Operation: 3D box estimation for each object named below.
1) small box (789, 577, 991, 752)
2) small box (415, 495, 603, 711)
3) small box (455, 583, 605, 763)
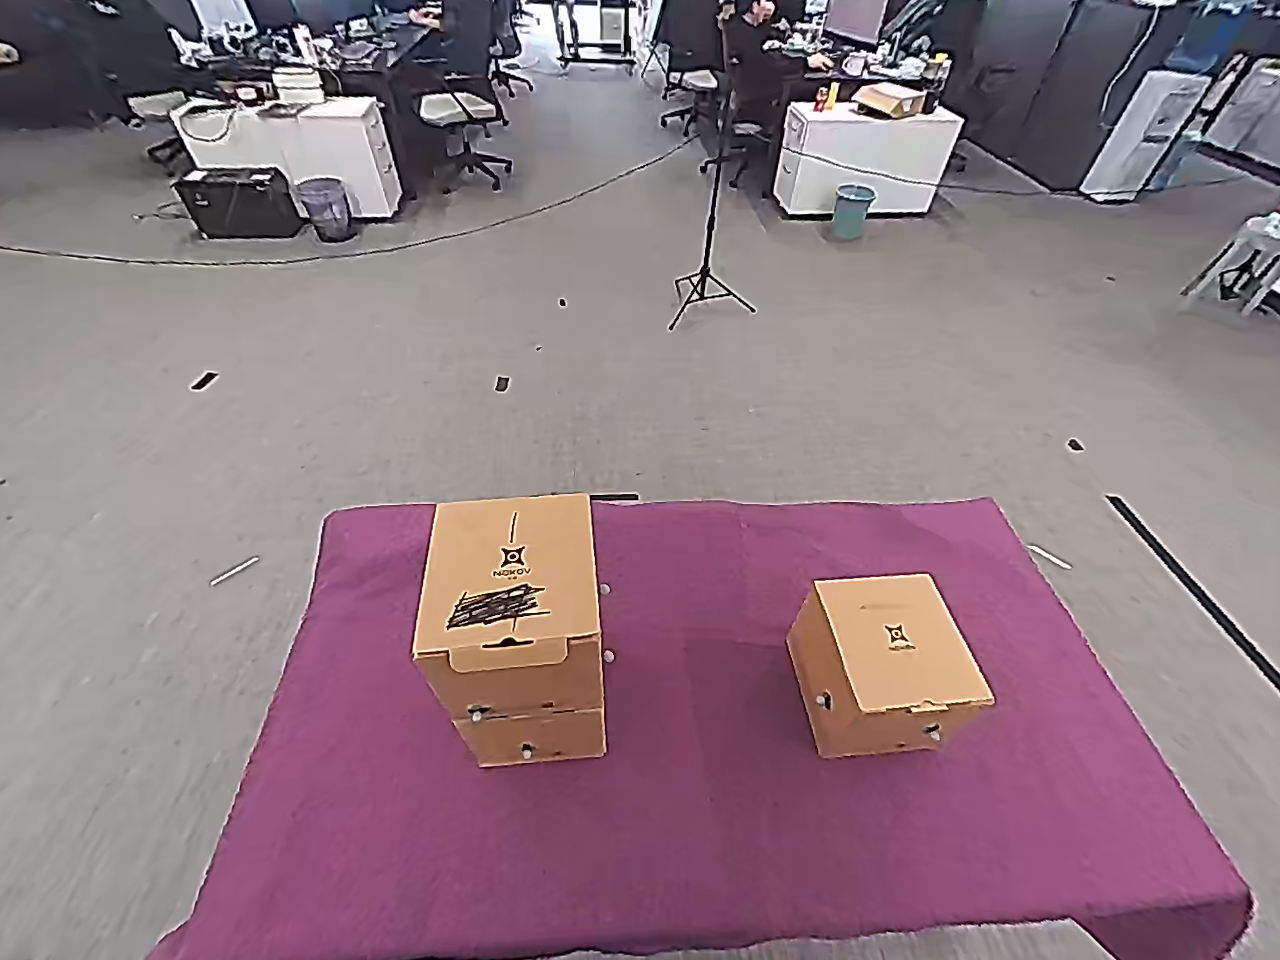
[{"bbox_3d":[0.316,0.252,0.729,0.168,0.176,0.179,-2,47,-5],"label":"small box"},{"bbox_3d":[-0.128,0.139,0.592,0.168,0.176,0.179,-3,47,-6],"label":"small box"},{"bbox_3d":[-0.133,0.250,0.713,0.168,0.176,0.179,-2,48,-5],"label":"small box"}]
